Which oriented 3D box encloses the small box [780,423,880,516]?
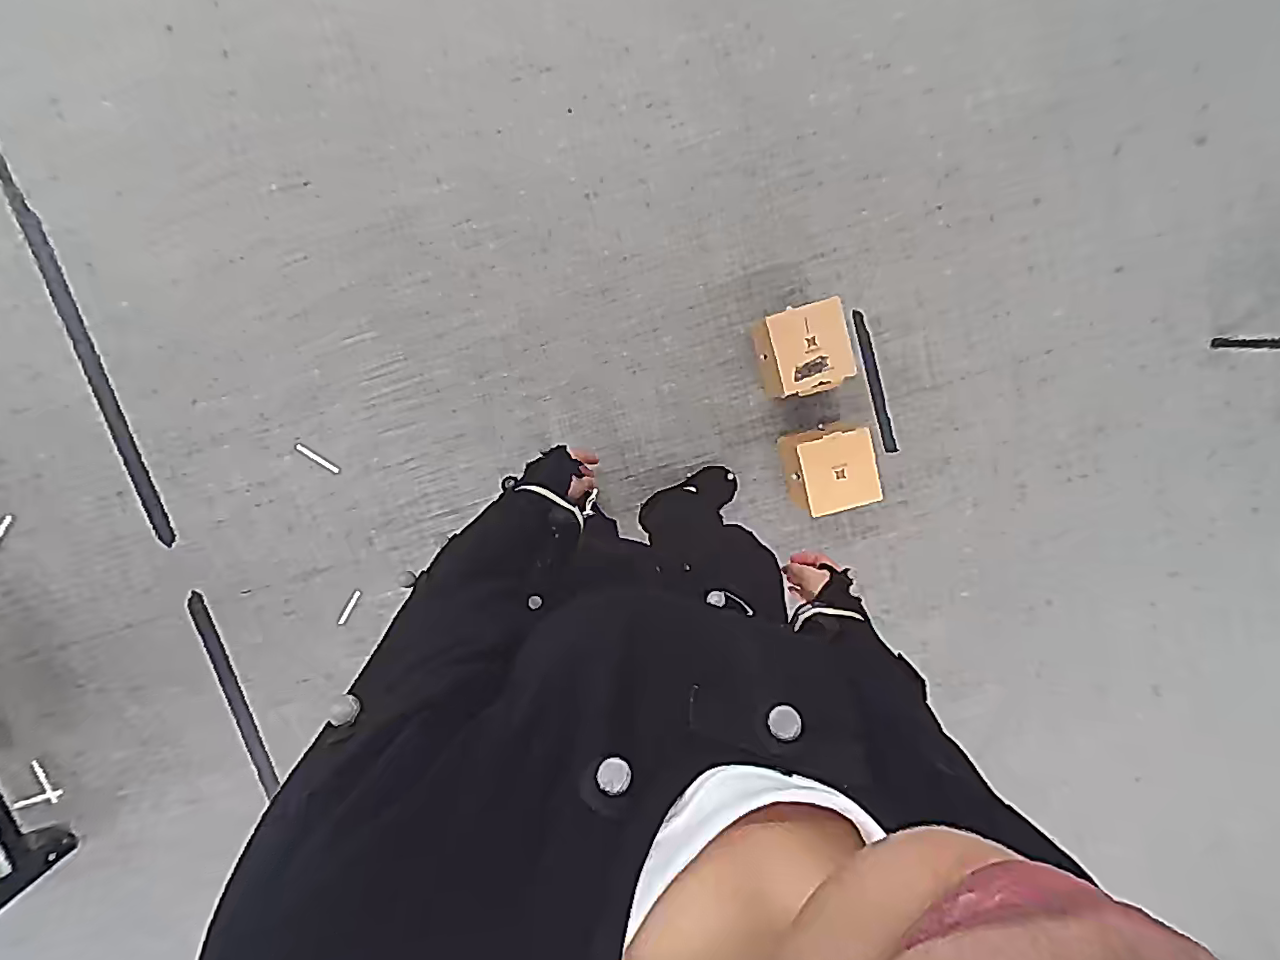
[{"bbox_3d":[0.448,-0.031,1.295,0.168,0.176,0.179,-15,98,3],"label":"small box"}]

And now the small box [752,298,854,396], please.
[{"bbox_3d":[0.369,-0.301,1.250,0.168,0.176,0.179,-16,98,2],"label":"small box"}]
